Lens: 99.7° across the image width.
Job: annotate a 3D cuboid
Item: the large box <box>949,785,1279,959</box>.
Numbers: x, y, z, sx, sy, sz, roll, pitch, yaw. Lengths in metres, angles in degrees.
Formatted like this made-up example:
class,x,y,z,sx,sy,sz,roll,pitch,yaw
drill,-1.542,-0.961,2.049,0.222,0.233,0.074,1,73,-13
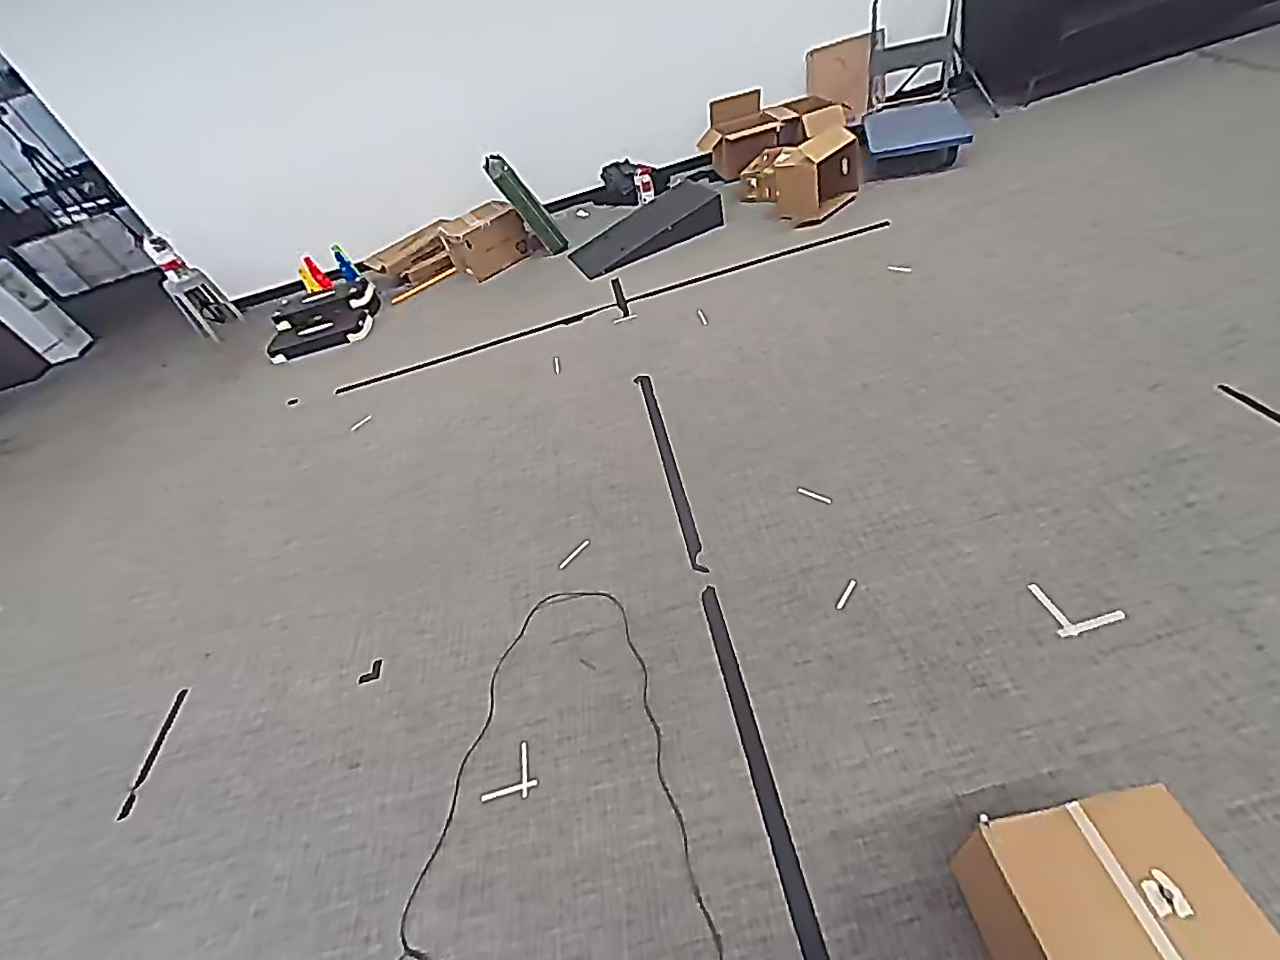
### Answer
class,x,y,z,sx,sy,sz,roll,pitch,yaw
large box,0.787,0.796,0.886,0.320,0.320,0.408,-14,43,2
